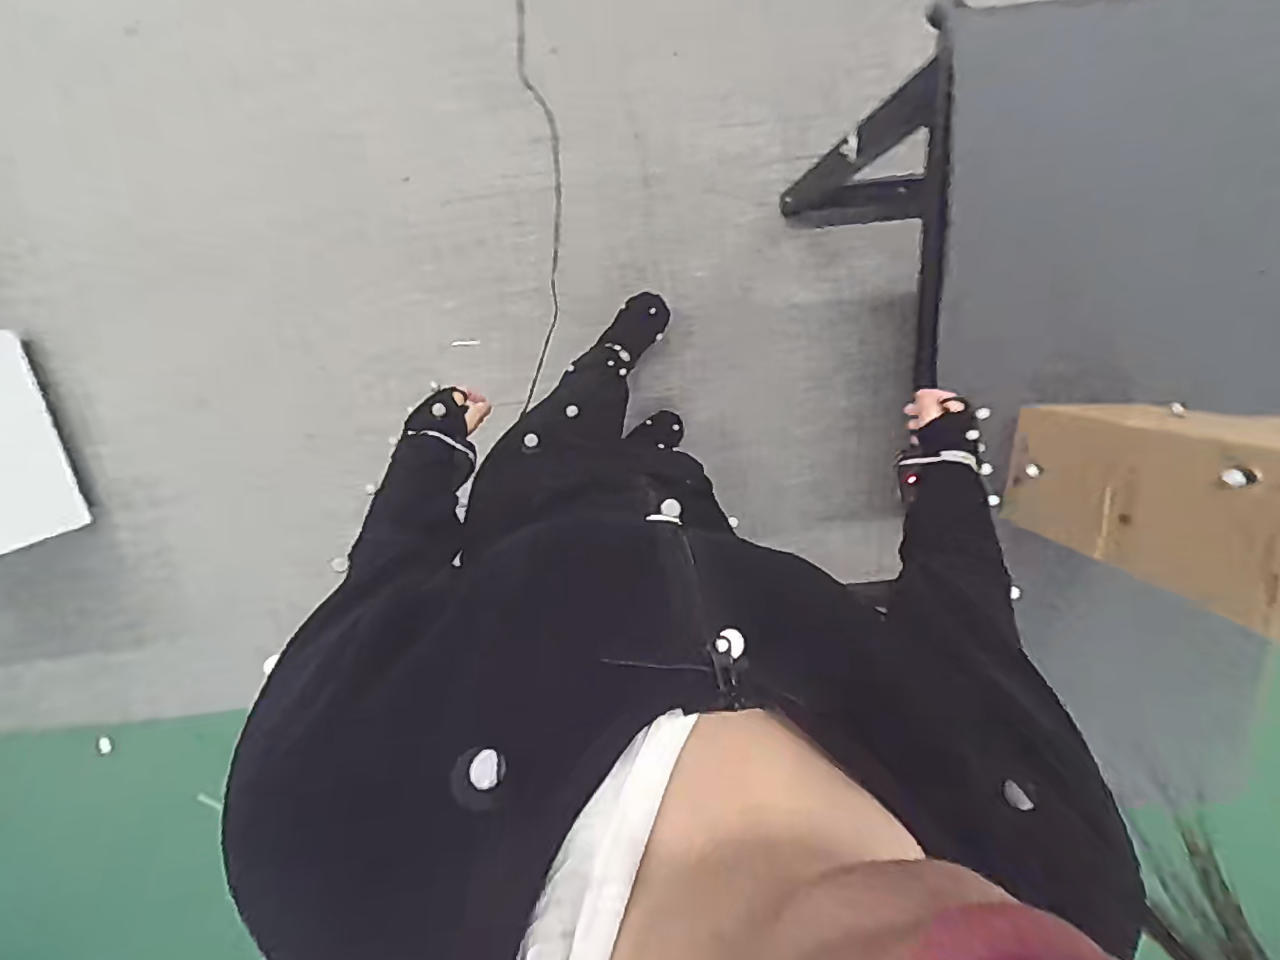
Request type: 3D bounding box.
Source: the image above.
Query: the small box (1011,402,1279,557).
[{"bbox_3d":[0.629,-0.009,0.693,0.179,0.176,0.168,-1,104,-2],"label":"small box"}]
